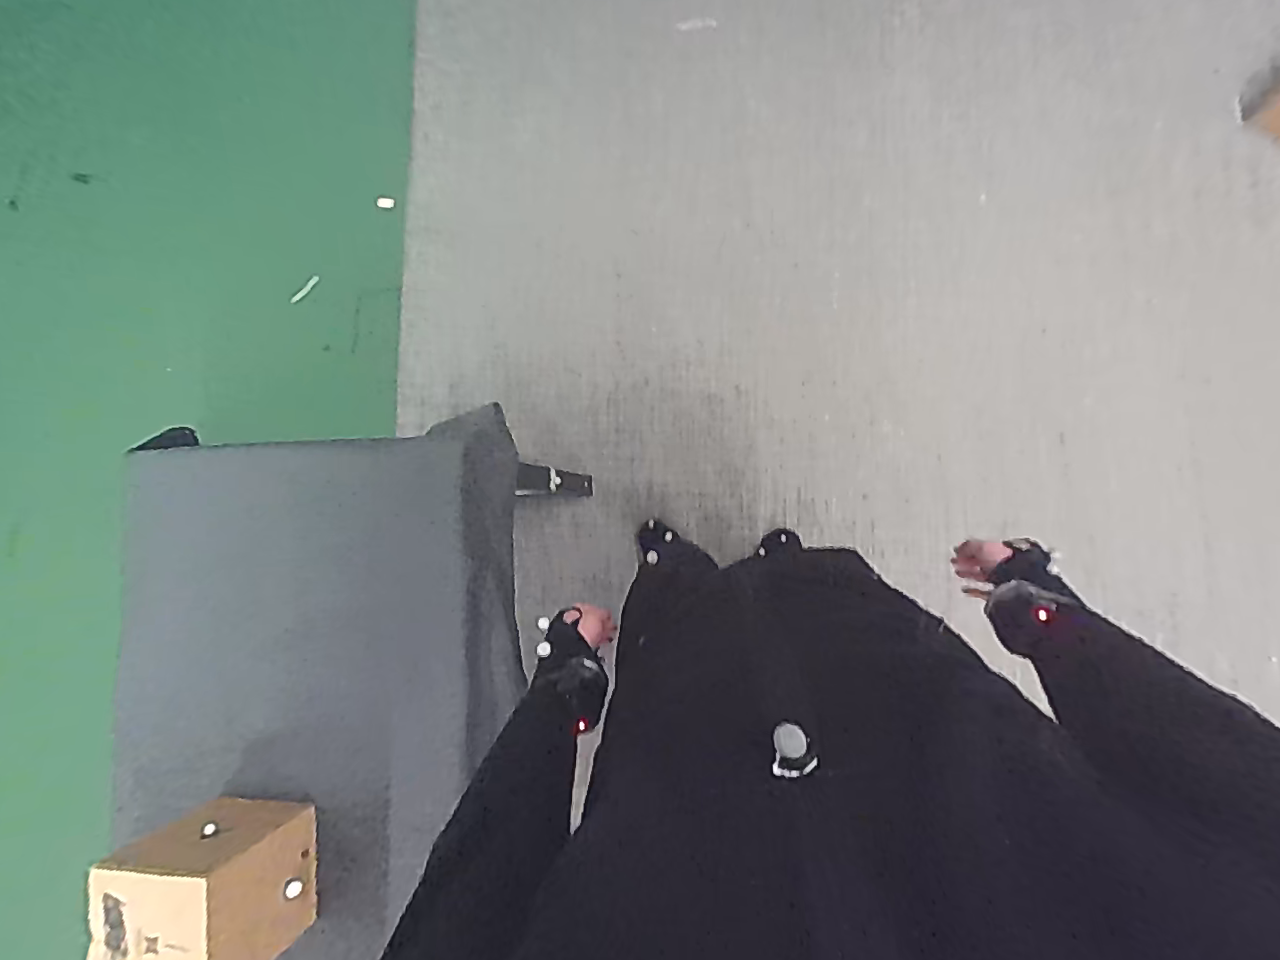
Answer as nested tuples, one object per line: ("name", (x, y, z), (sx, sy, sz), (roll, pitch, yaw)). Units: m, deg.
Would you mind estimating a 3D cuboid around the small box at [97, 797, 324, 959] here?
("small box", (-0.563, 0.551, 0.723), (0.179, 0.176, 0.168), (-3, 86, 10))
